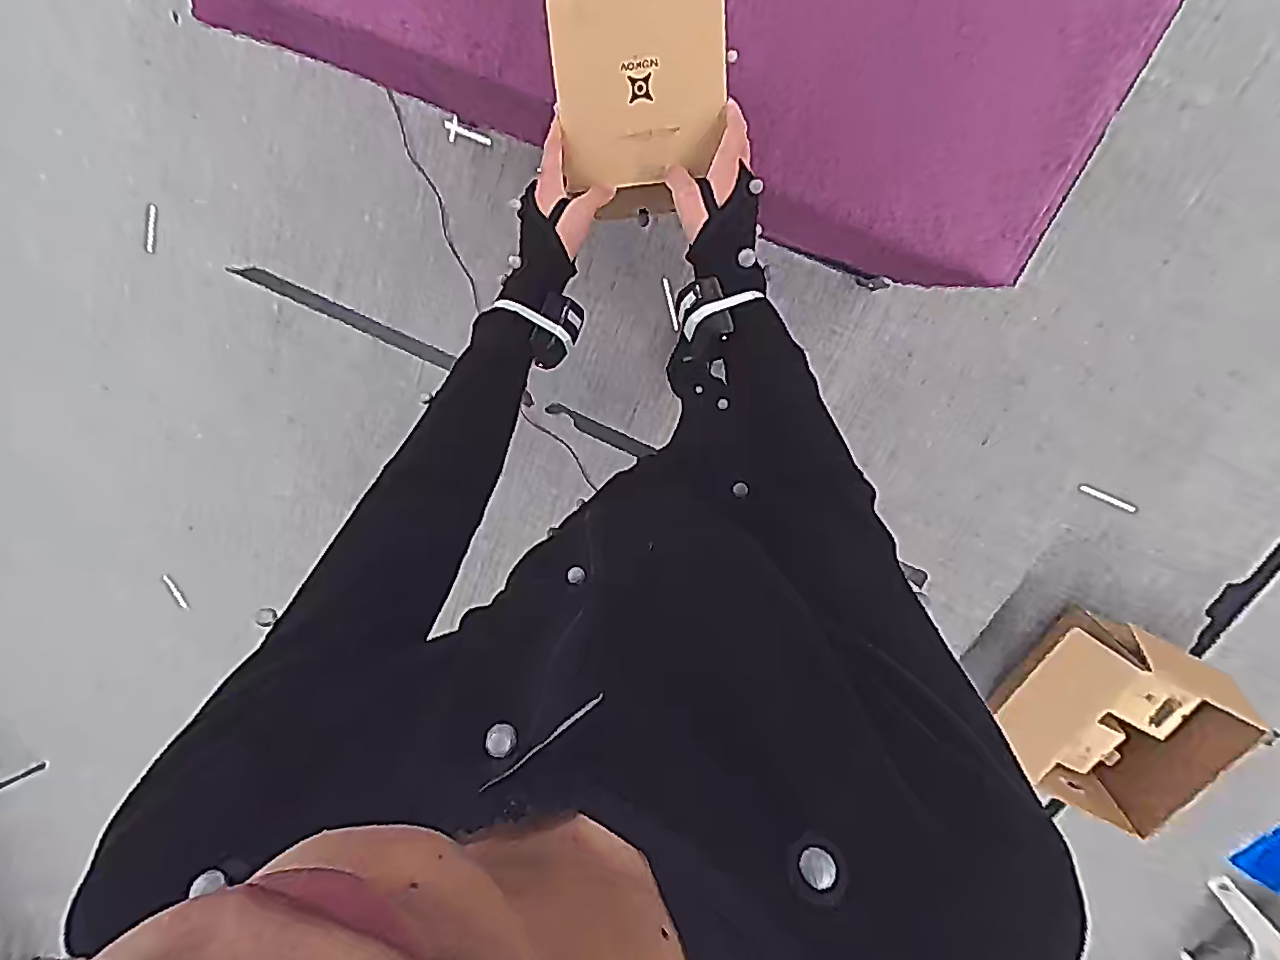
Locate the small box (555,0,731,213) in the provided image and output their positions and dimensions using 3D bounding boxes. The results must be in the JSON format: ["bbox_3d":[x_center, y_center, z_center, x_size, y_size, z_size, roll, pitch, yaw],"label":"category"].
[{"bbox_3d":[0.012,-0.411,0.593,0.168,0.176,0.179,-2,106,8],"label":"small box"}]
